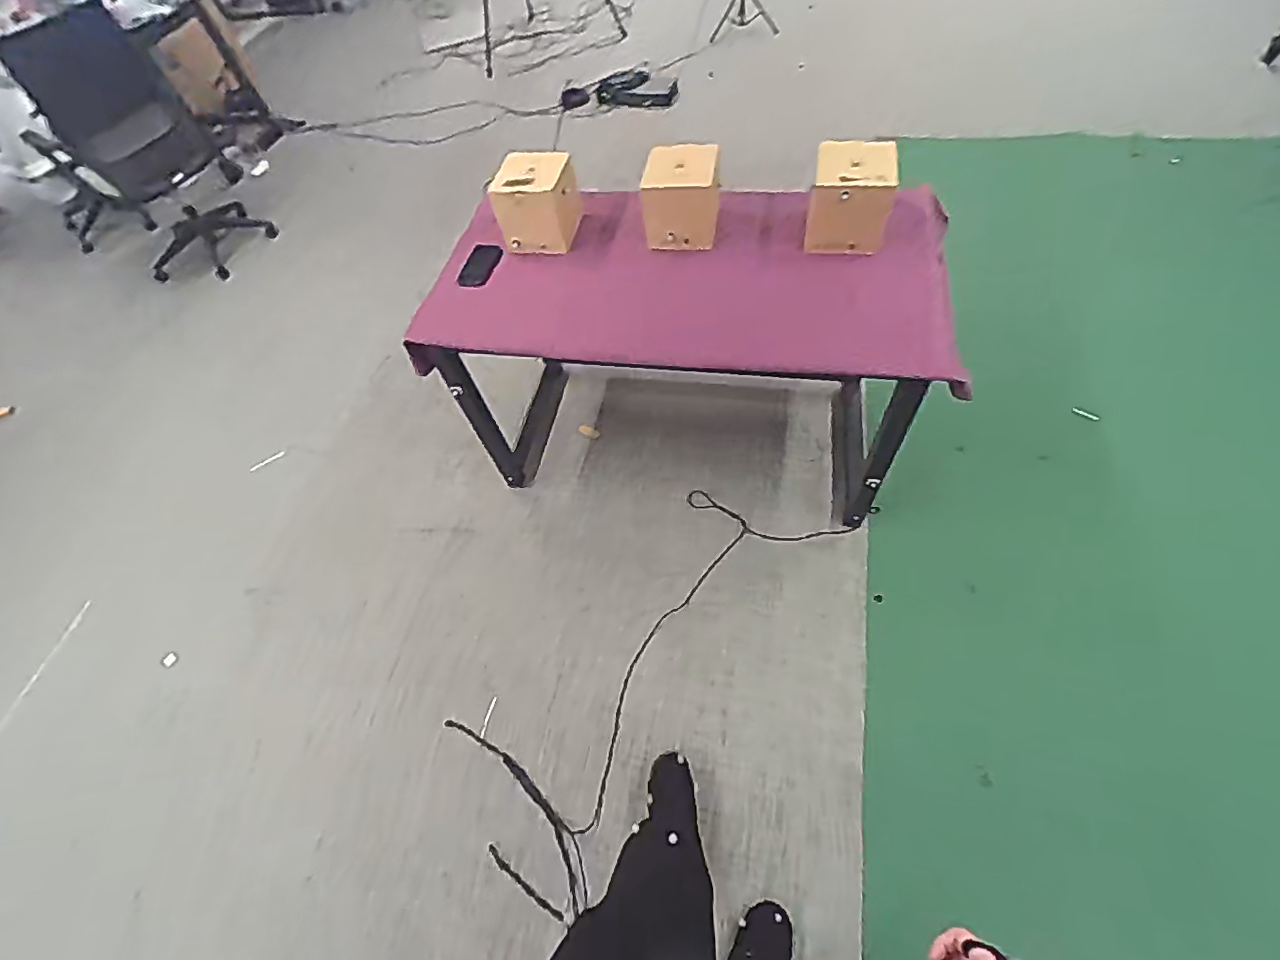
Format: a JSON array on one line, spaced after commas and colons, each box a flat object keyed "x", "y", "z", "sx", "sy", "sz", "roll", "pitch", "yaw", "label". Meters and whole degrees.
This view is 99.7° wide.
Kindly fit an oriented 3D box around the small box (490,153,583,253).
[{"x": -0.255, "y": -0.703, "z": 1.384, "sx": 0.168, "sy": 0.176, "sz": 0.179, "roll": 6, "pitch": 59, "yaw": 12, "label": "small box"}]

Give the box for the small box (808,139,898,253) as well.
[{"x": 0.483, "y": -0.649, "z": 1.239, "sx": 0.168, "sy": 0.176, "sz": 0.179, "roll": 7, "pitch": 59, "yaw": 14, "label": "small box"}]

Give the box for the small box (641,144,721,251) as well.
[{"x": 0.106, "y": -0.689, "z": 1.323, "sx": 0.168, "sy": 0.176, "sz": 0.179, "roll": 5, "pitch": 60, "yaw": 13, "label": "small box"}]
